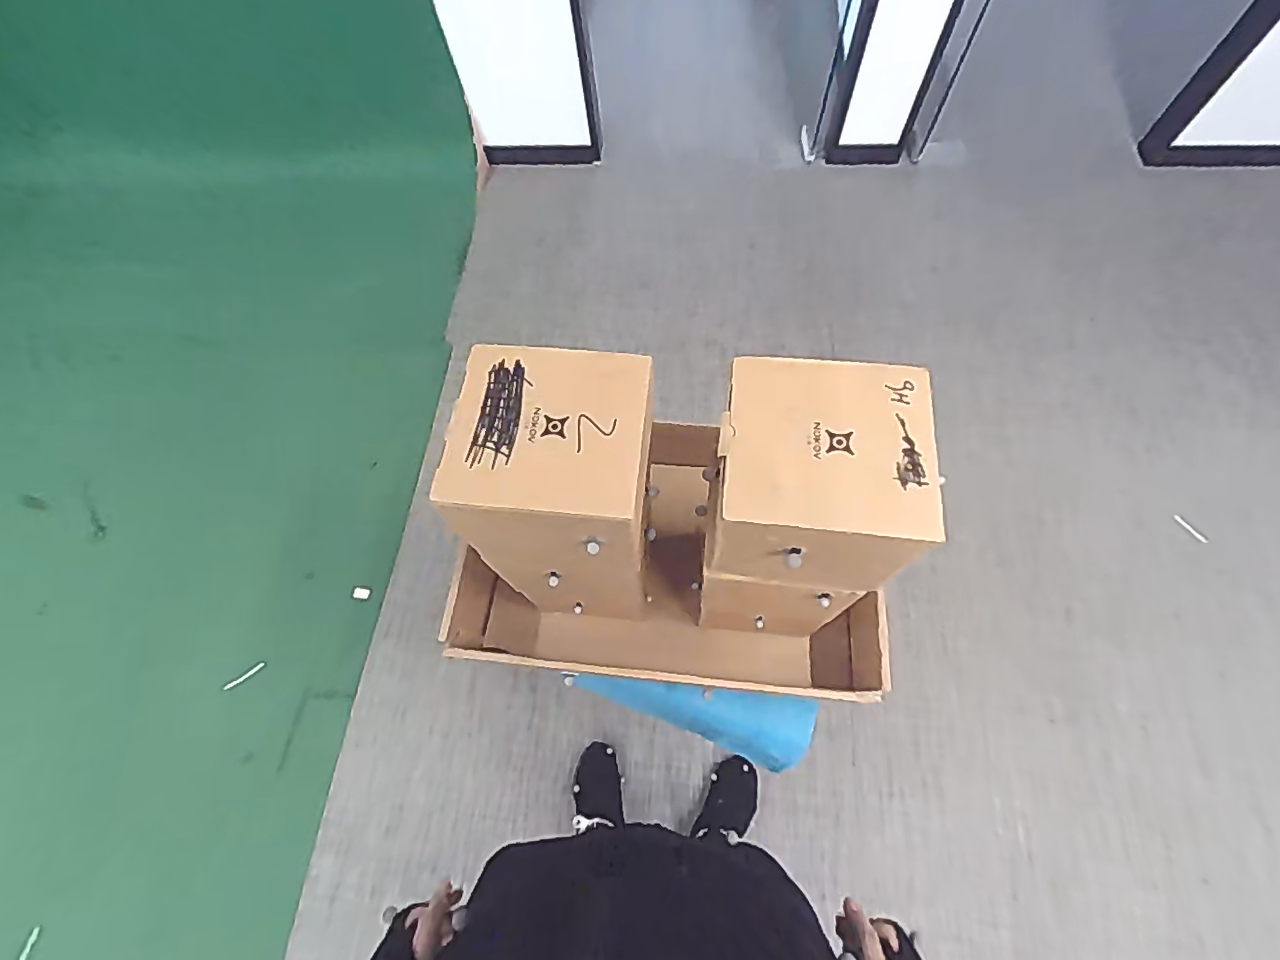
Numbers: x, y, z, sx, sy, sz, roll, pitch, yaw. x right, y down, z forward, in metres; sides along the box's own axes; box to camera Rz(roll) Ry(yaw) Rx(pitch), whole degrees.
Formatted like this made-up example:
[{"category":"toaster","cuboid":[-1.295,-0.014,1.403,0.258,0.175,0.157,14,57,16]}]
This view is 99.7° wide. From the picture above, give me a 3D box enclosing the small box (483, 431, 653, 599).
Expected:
[{"category":"small box","cuboid":[-0.079,0.052,0.702,0.179,0.176,0.168,5,66,4]}]
